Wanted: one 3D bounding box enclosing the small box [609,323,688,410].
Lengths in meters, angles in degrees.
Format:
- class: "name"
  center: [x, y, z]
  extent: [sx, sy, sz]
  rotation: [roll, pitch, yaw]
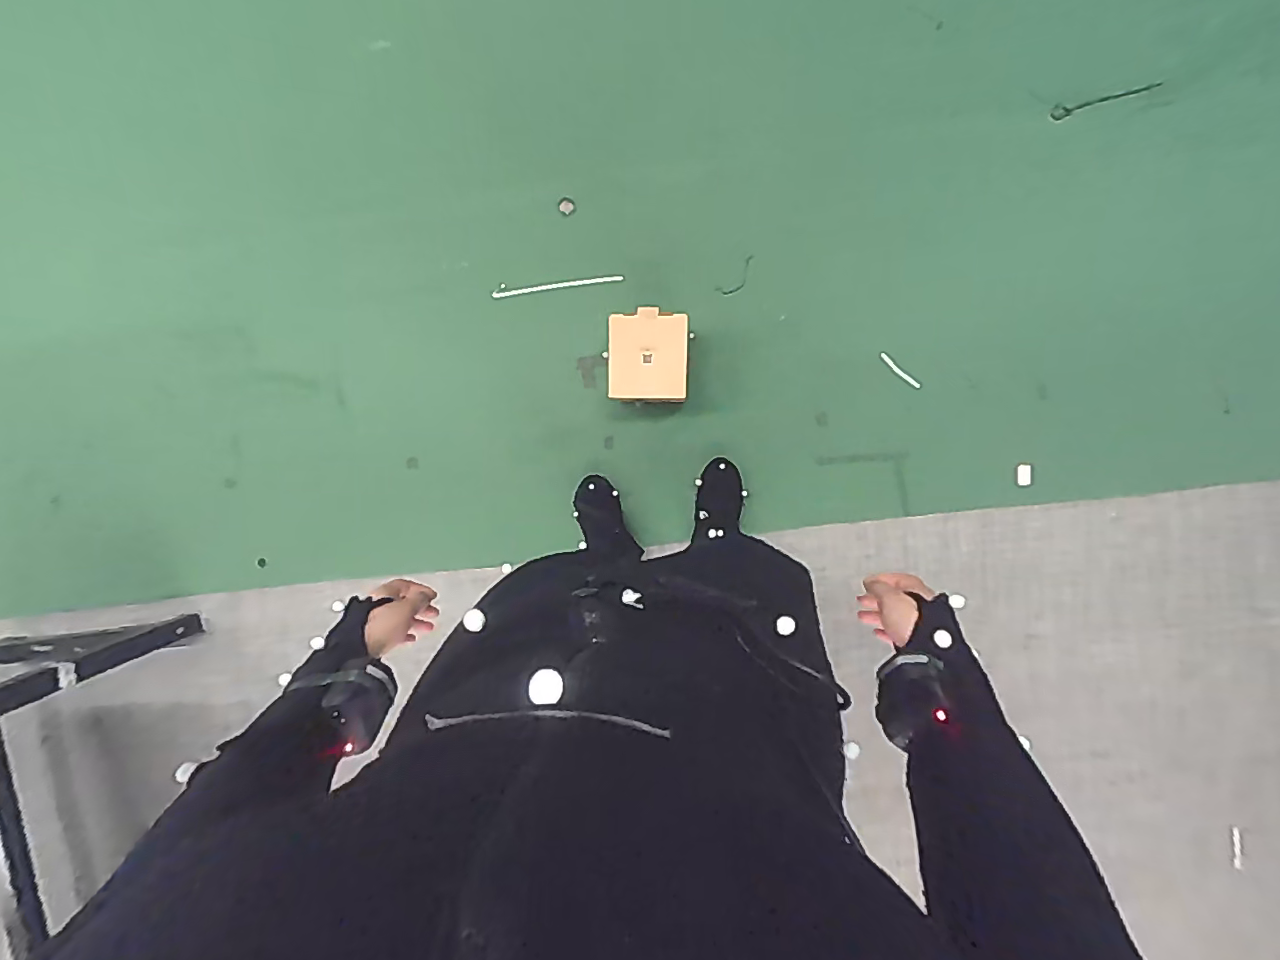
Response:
- class: "small box"
  center: [0.023, -0.246, 1.209]
  extent: [0.168, 0.176, 0.179]
  rotation: [1, 94, 3]
